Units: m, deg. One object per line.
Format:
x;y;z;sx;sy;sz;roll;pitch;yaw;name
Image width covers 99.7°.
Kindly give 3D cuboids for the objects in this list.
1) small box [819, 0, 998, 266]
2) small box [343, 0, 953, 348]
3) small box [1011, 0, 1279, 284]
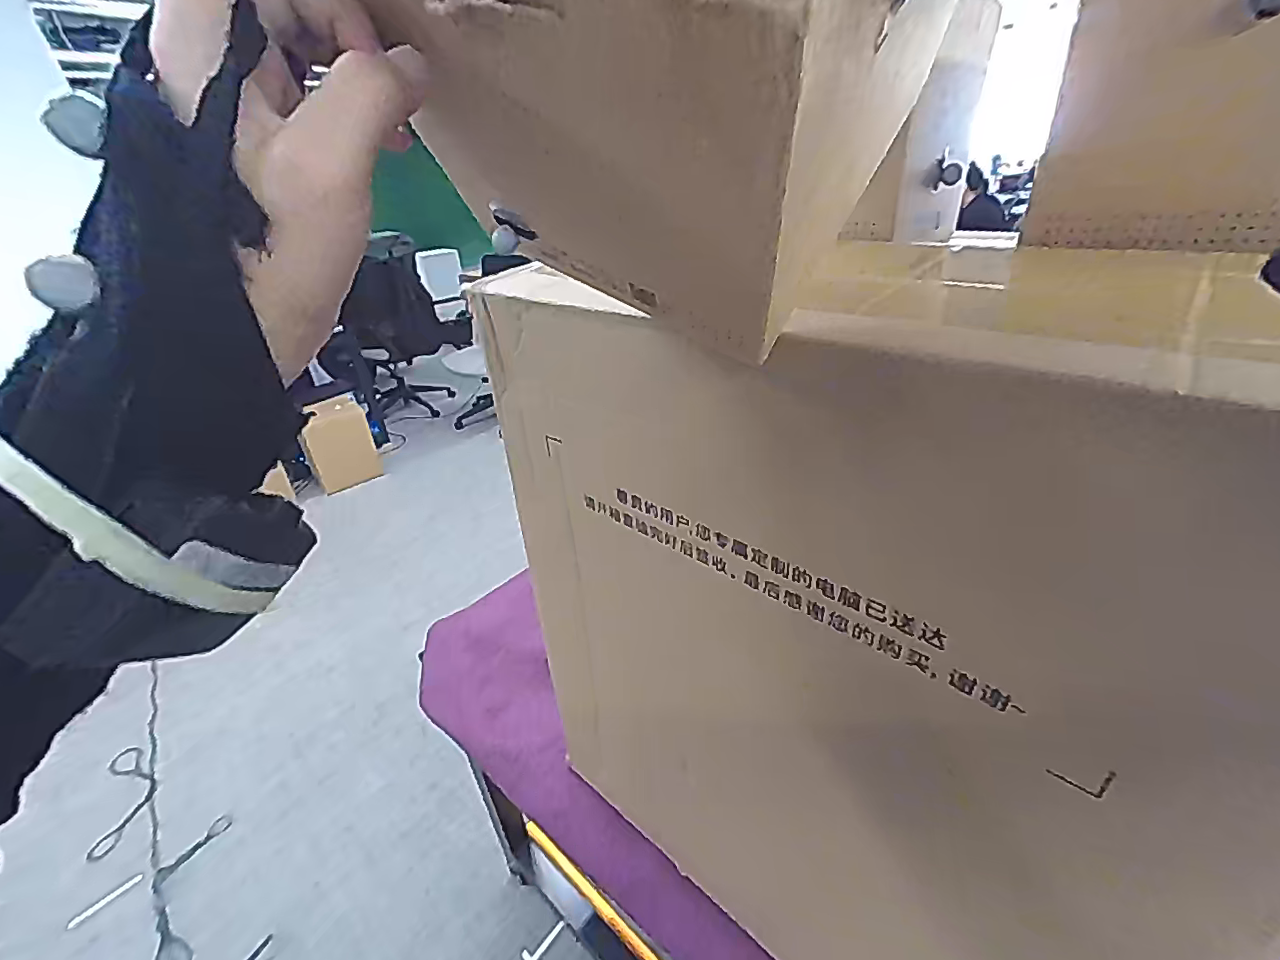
0.165;-0.286;0.462;0.179;0.176;0.168;23;41;36;small box
0.019;-0.181;0.207;0.168;0.176;0.179;29;83;13;small box
0.355;-0.219;0.325;0.179;0.176;0.168;16;36;35;small box
